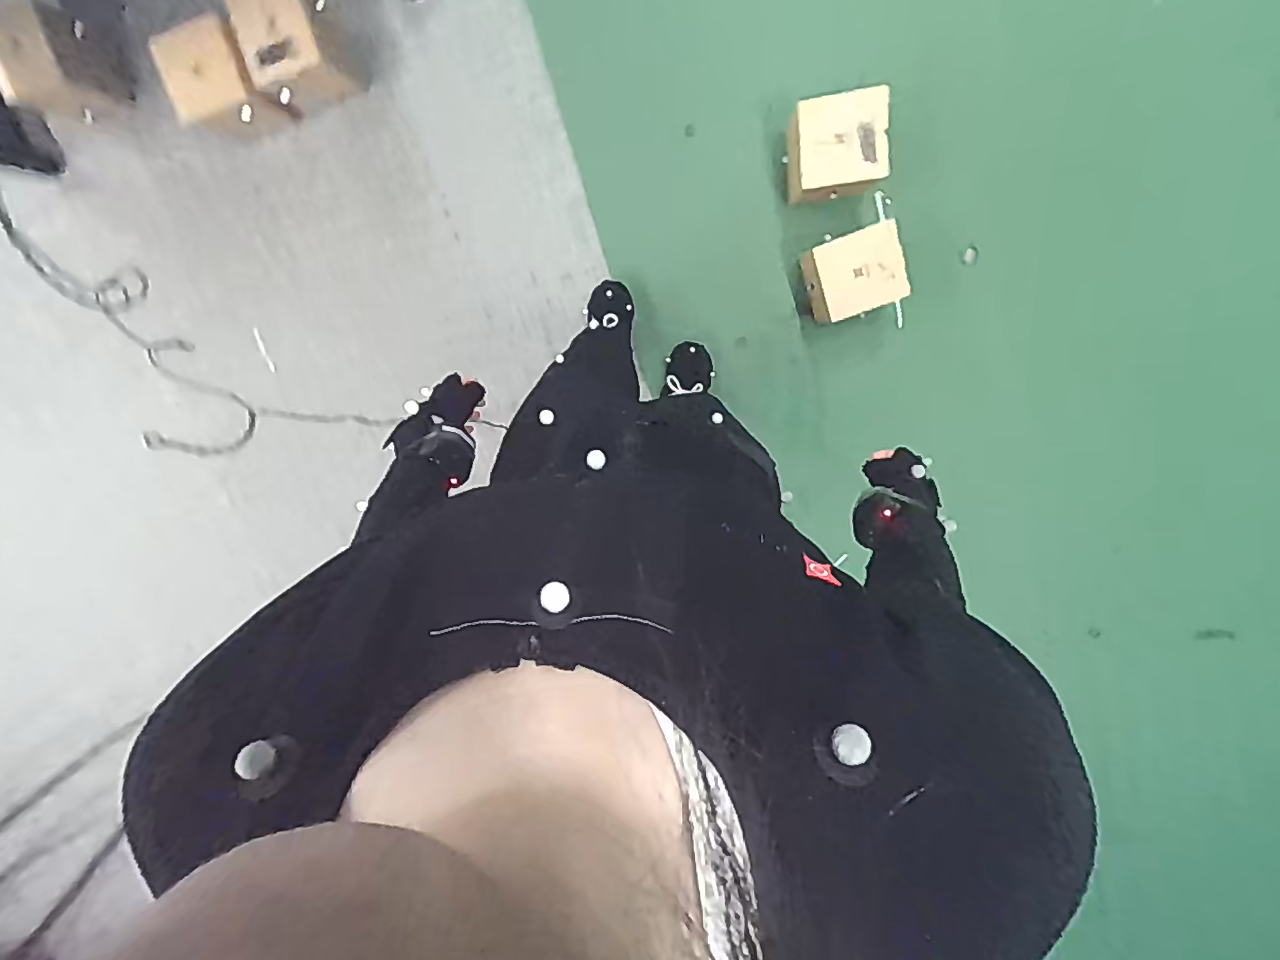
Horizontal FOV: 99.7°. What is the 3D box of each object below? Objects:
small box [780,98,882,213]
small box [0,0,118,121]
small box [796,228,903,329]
[{"bbox_3d":[0.410,-0.696,1.179,0.179,0.176,0.168,-5,105,7],"label":"small box"},{"bbox_3d":[-1.378,-0.968,1.243,0.168,0.176,0.179,-8,105,8],"label":"small box"},{"bbox_3d":[0.470,-0.453,1.241,0.179,0.176,0.168,-17,104,9],"label":"small box"}]
